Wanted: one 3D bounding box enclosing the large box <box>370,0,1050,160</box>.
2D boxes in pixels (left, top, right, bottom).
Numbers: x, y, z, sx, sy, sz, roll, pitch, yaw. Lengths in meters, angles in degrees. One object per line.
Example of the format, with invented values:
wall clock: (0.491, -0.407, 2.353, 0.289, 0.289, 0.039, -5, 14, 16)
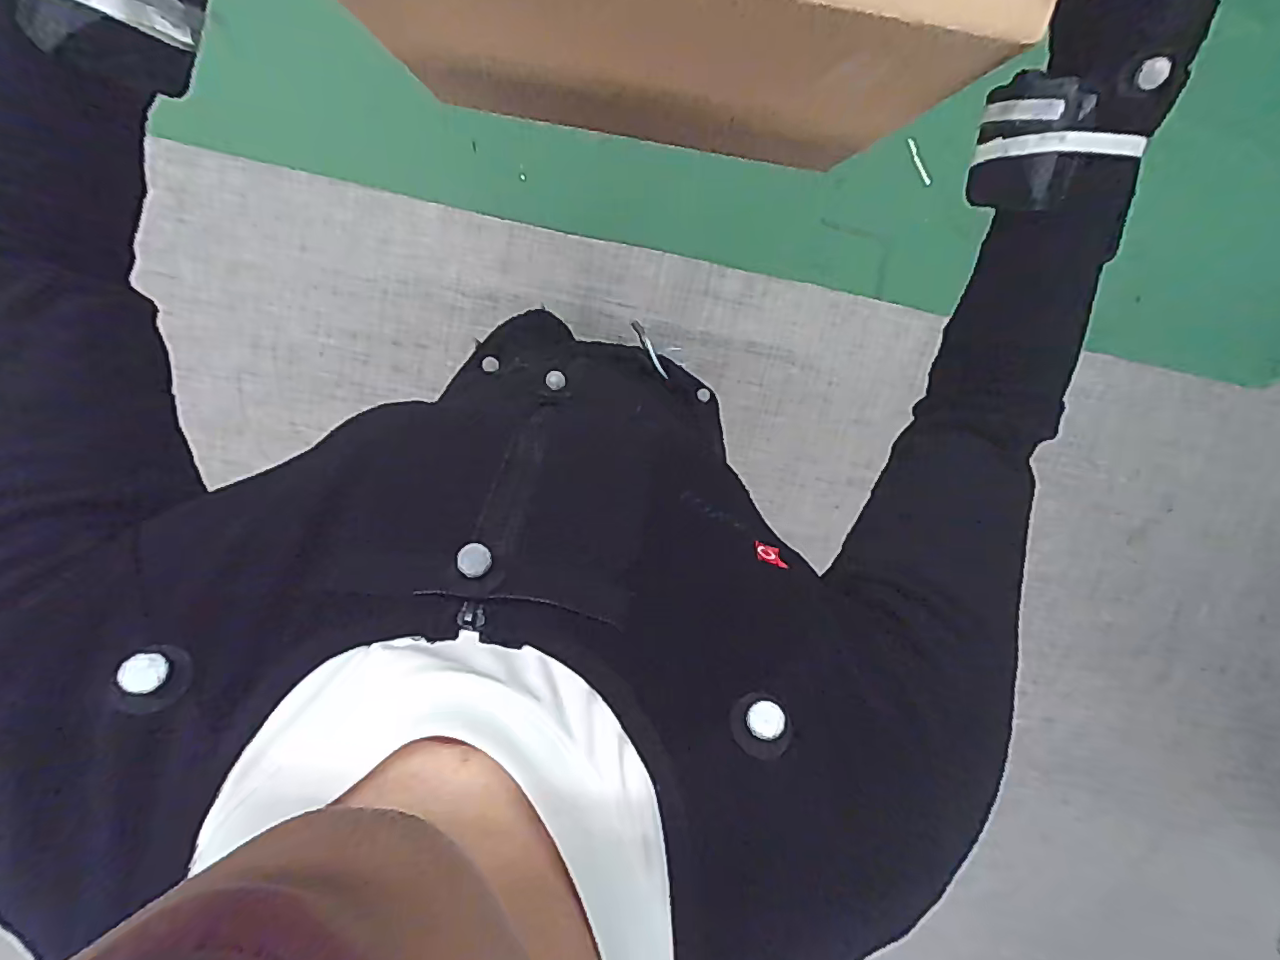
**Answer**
large box: (0.030, -0.450, 0.367, 0.408, 0.320, 0.320, 7, 109, -5)
